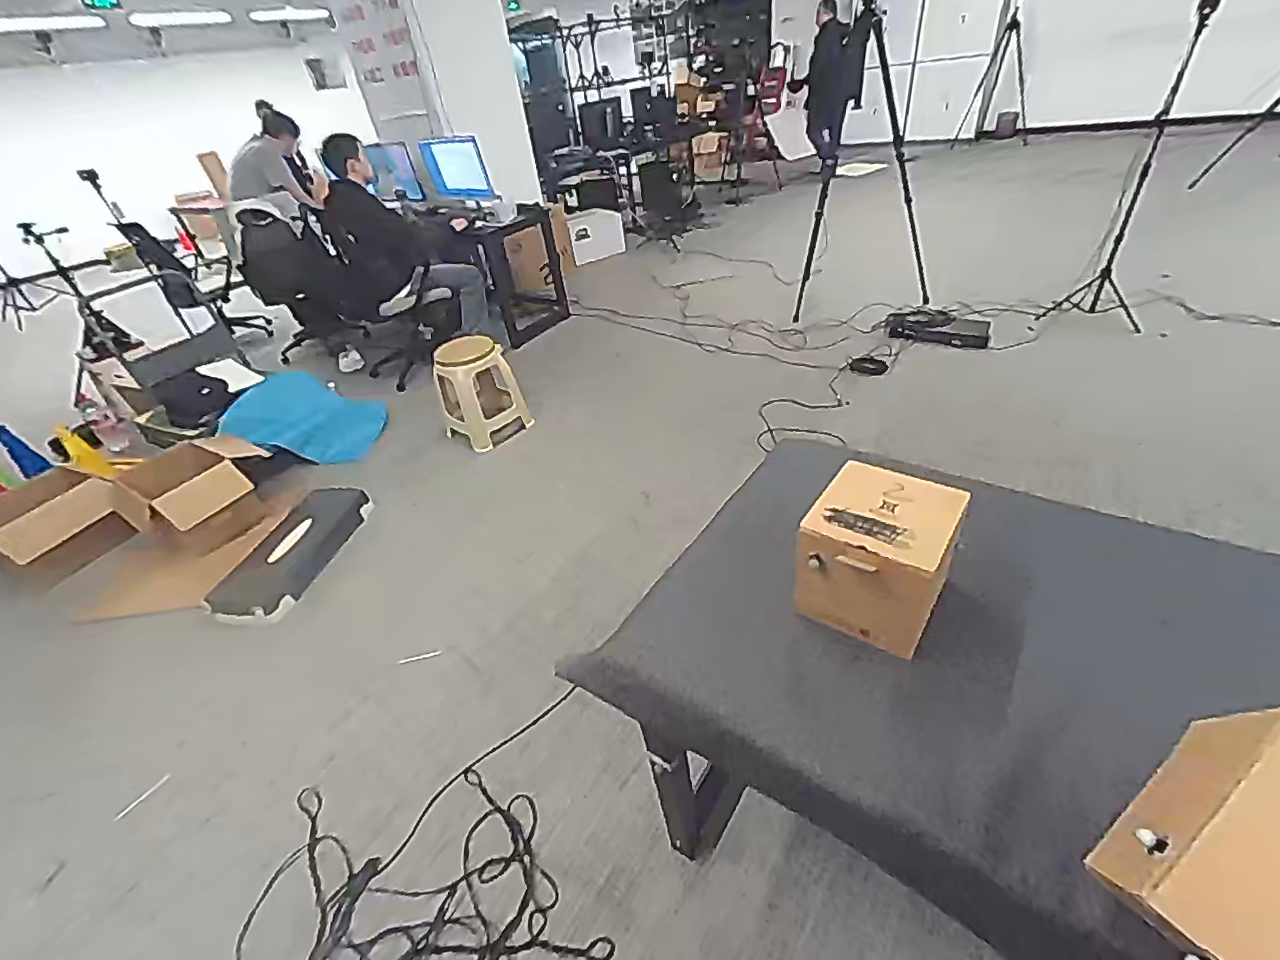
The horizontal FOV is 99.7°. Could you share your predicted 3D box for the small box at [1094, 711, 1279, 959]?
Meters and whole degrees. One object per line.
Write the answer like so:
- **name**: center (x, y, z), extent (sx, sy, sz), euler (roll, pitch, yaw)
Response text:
- **small box**: center (0.478, 0.288, 0.387), extent (0.179, 0.176, 0.168), euler (-49, 54, -2)
